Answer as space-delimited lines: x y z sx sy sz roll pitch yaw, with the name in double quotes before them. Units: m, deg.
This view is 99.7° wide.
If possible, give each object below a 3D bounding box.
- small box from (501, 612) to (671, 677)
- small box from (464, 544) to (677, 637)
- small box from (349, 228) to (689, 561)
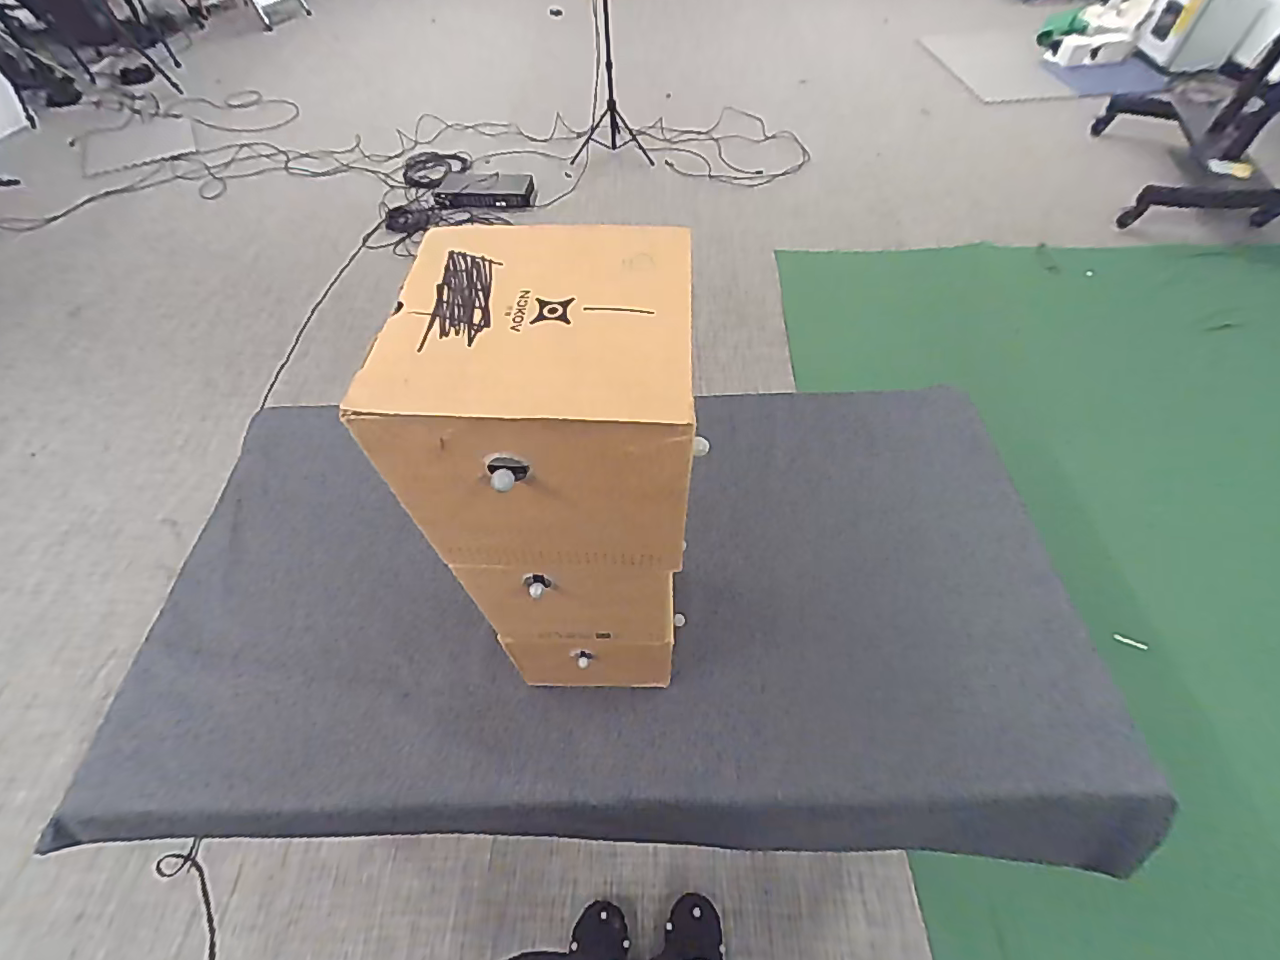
"small box" -0.051 0.133 0.653 0.179 0.176 0.168 0 55 1
"small box" -0.053 0.038 0.523 0.168 0.176 0.179 -1 56 0
"small box" -0.057 -0.053 0.382 0.179 0.176 0.168 2 56 3
